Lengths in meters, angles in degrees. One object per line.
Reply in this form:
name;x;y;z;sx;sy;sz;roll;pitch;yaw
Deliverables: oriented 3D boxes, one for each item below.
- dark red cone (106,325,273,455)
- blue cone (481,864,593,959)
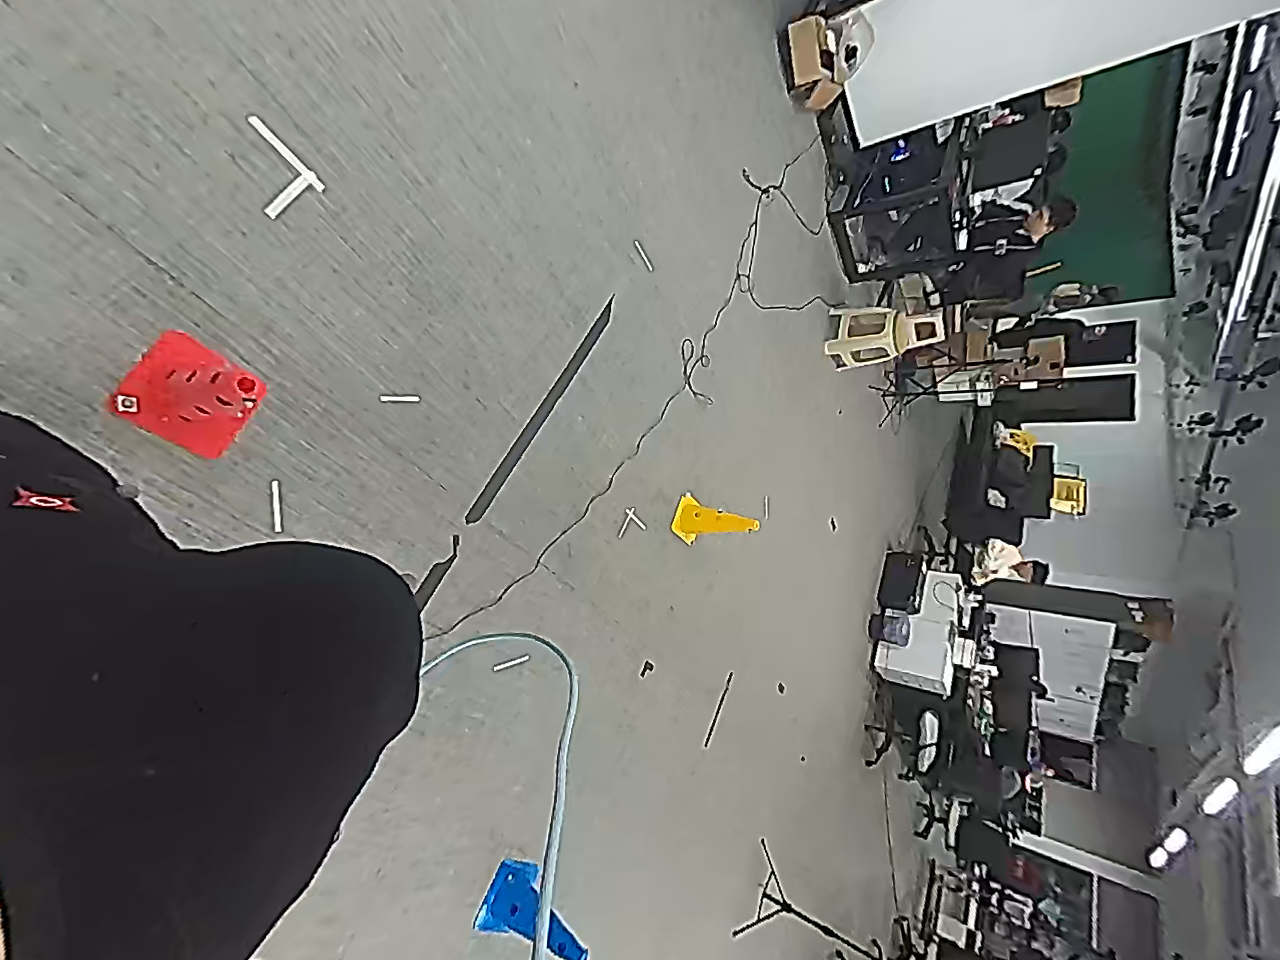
dark red cone;-0.752;-0.167;0.965;0.201;0.394;0.202;42;60;-45
blue cone;-0.299;1.379;1.674;0.192;0.380;0.193;52;54;-41
